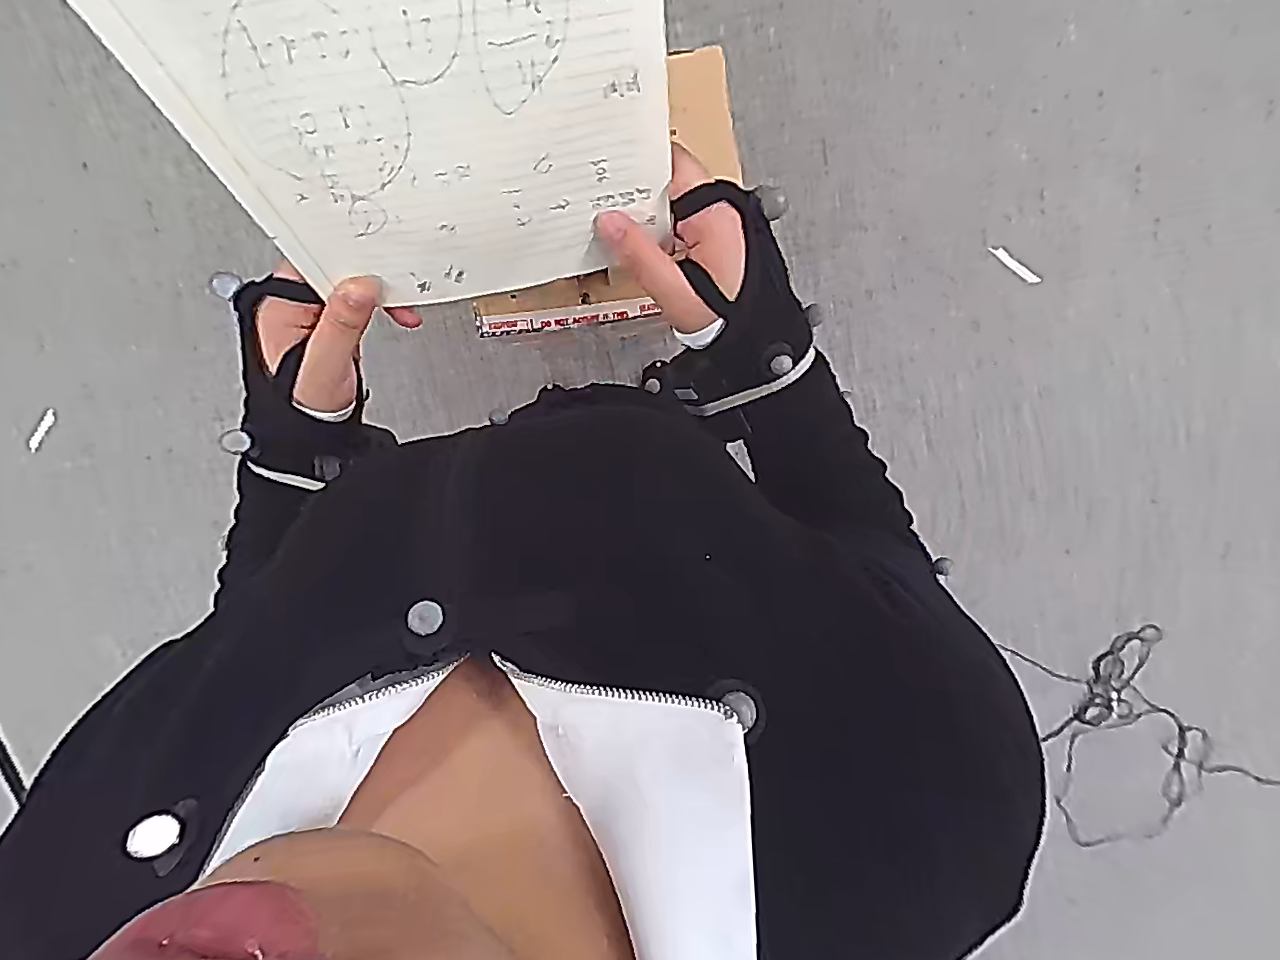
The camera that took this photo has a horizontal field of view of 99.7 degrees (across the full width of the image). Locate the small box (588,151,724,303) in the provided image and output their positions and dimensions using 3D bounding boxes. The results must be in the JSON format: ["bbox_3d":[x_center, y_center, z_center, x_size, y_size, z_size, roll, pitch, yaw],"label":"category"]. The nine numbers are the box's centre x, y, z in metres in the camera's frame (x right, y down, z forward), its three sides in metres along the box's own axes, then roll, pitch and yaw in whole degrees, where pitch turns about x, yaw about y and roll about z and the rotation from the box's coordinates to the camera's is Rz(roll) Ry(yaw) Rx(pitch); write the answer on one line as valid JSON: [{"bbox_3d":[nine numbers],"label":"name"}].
[{"bbox_3d":[0.021,-0.390,0.861,0.179,0.176,0.168,-13,102,0],"label":"small box"}]

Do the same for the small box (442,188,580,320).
[{"bbox_3d":[-0.192,-0.350,0.864,0.179,0.176,0.168,-4,103,1],"label":"small box"}]
